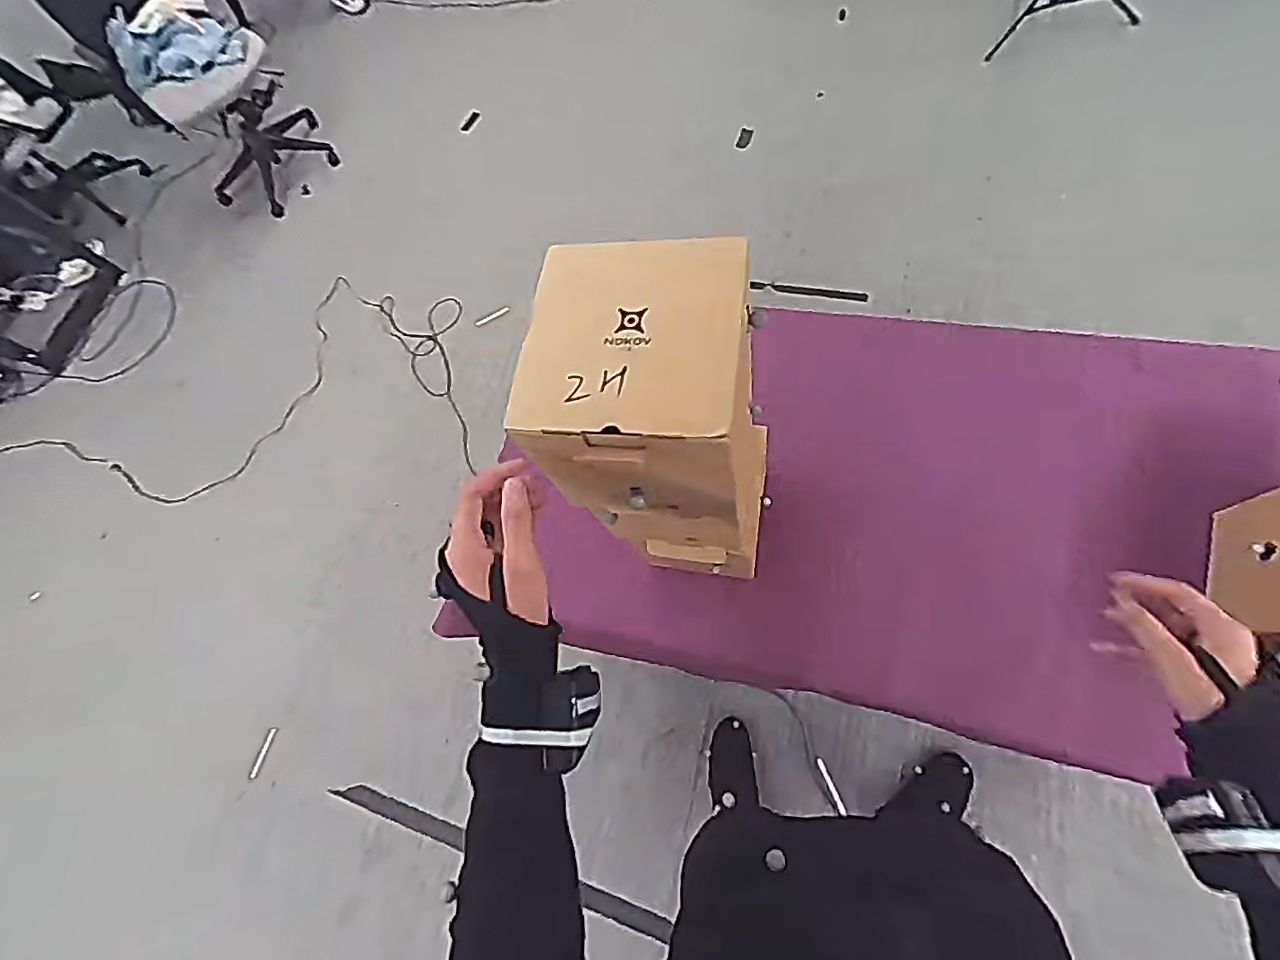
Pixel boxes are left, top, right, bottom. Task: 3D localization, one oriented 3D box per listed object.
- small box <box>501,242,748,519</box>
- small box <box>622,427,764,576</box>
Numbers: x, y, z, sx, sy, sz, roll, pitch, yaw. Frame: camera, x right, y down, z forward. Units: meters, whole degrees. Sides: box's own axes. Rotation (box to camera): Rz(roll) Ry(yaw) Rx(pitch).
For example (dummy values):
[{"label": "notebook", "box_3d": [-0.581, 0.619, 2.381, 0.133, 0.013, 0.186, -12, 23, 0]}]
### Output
[{"label": "small box", "box_3d": [0.004, -0.079, 0.475, 0.168, 0.176, 0.179, 4, 70, 14]}, {"label": "small box", "box_3d": [0.085, 0.032, 0.776, 0.168, 0.176, 0.179, 6, 71, 14]}]
